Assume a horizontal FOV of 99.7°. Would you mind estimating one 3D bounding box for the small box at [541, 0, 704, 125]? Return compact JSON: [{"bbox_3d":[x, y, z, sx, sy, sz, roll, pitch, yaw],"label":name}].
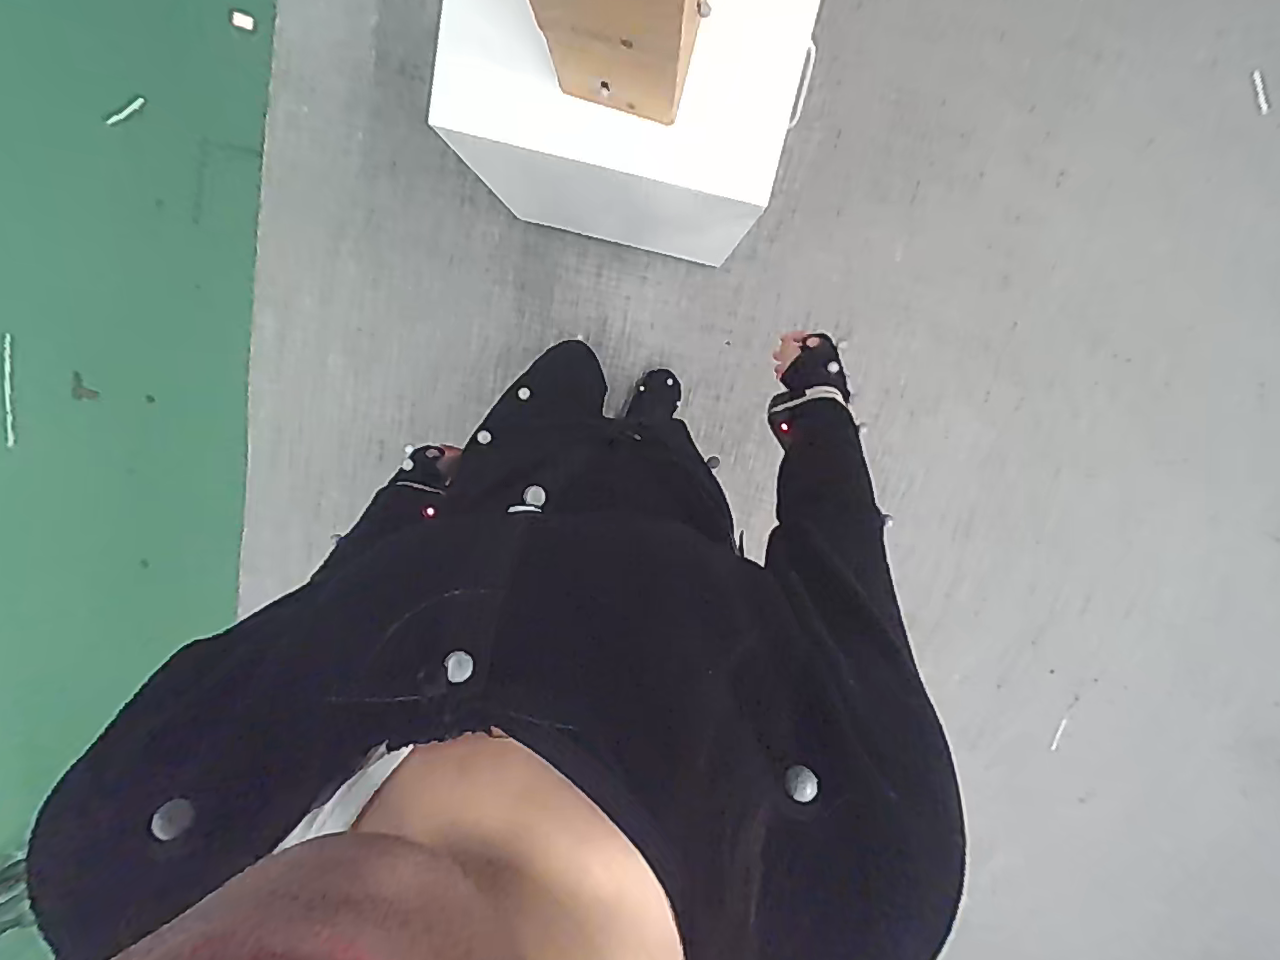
[{"bbox_3d":[-0.011,-0.585,0.665,0.168,0.176,0.179,15,101,-2],"label":"small box"}]
